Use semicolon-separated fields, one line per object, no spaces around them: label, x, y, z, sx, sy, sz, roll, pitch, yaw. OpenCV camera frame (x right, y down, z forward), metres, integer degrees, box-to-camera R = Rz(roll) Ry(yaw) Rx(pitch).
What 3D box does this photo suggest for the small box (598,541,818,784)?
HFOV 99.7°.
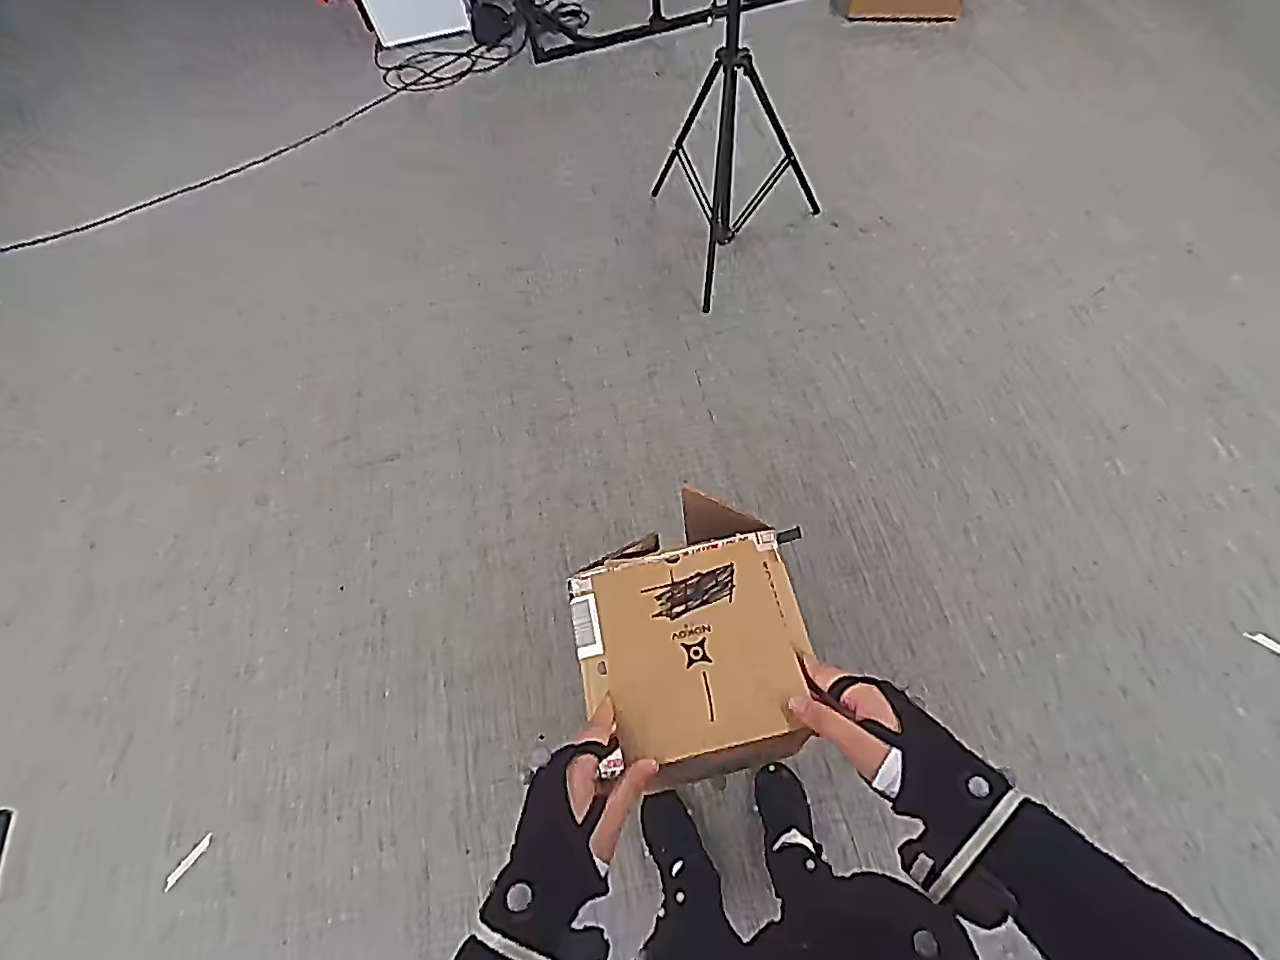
small box;0.061;0.191;0.555;0.168;0.176;0.179;-13;55;-1
